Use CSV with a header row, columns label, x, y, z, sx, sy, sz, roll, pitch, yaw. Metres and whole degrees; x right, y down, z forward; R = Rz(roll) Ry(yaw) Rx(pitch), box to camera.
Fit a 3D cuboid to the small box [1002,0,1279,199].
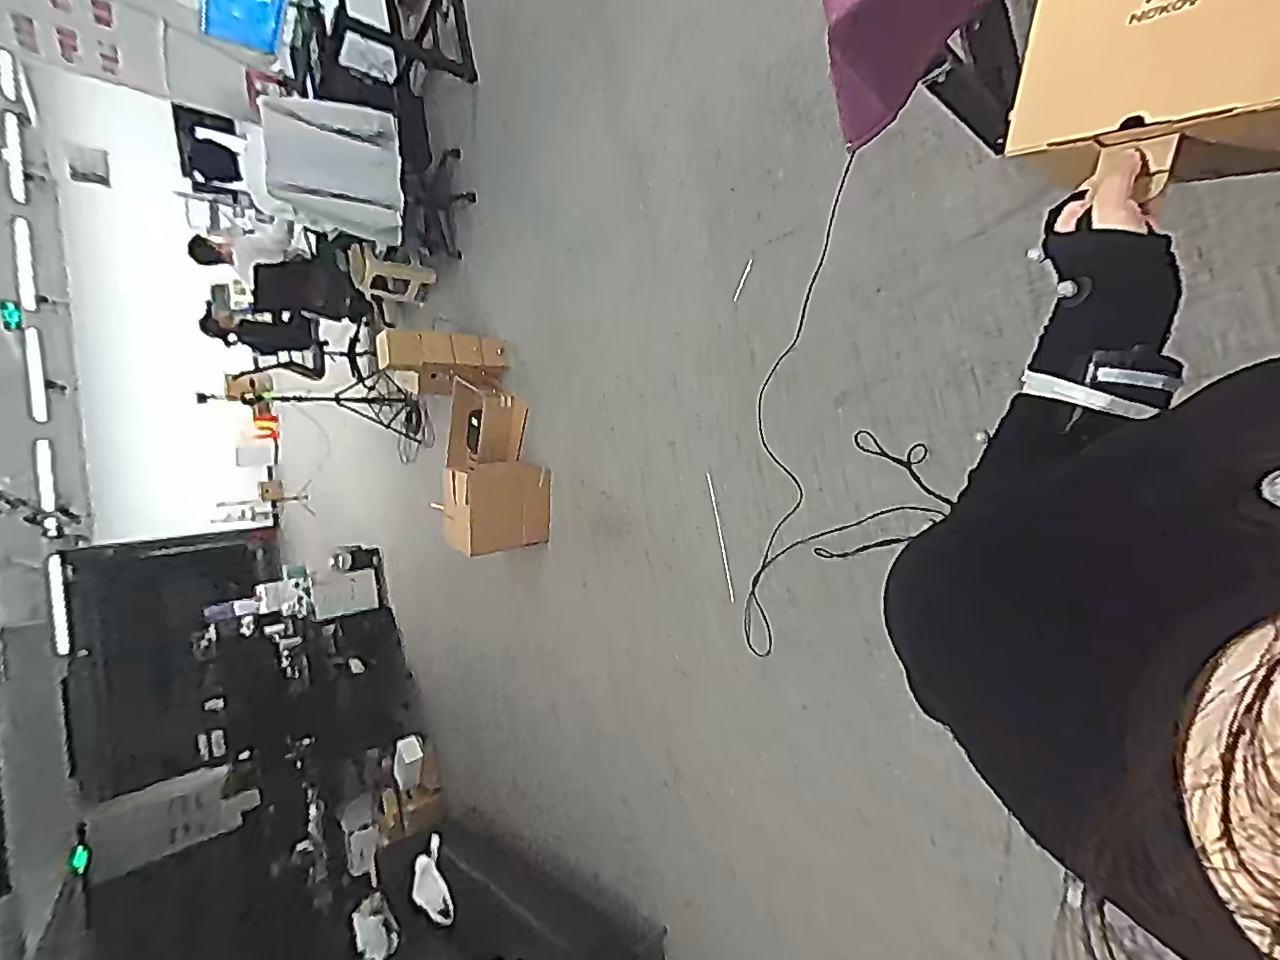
label,x,y,z,sx,sy,sz,roll,pitch,yaw
small box,0.421,-0.338,0.417,0.168,0.176,0.179,23,115,49
